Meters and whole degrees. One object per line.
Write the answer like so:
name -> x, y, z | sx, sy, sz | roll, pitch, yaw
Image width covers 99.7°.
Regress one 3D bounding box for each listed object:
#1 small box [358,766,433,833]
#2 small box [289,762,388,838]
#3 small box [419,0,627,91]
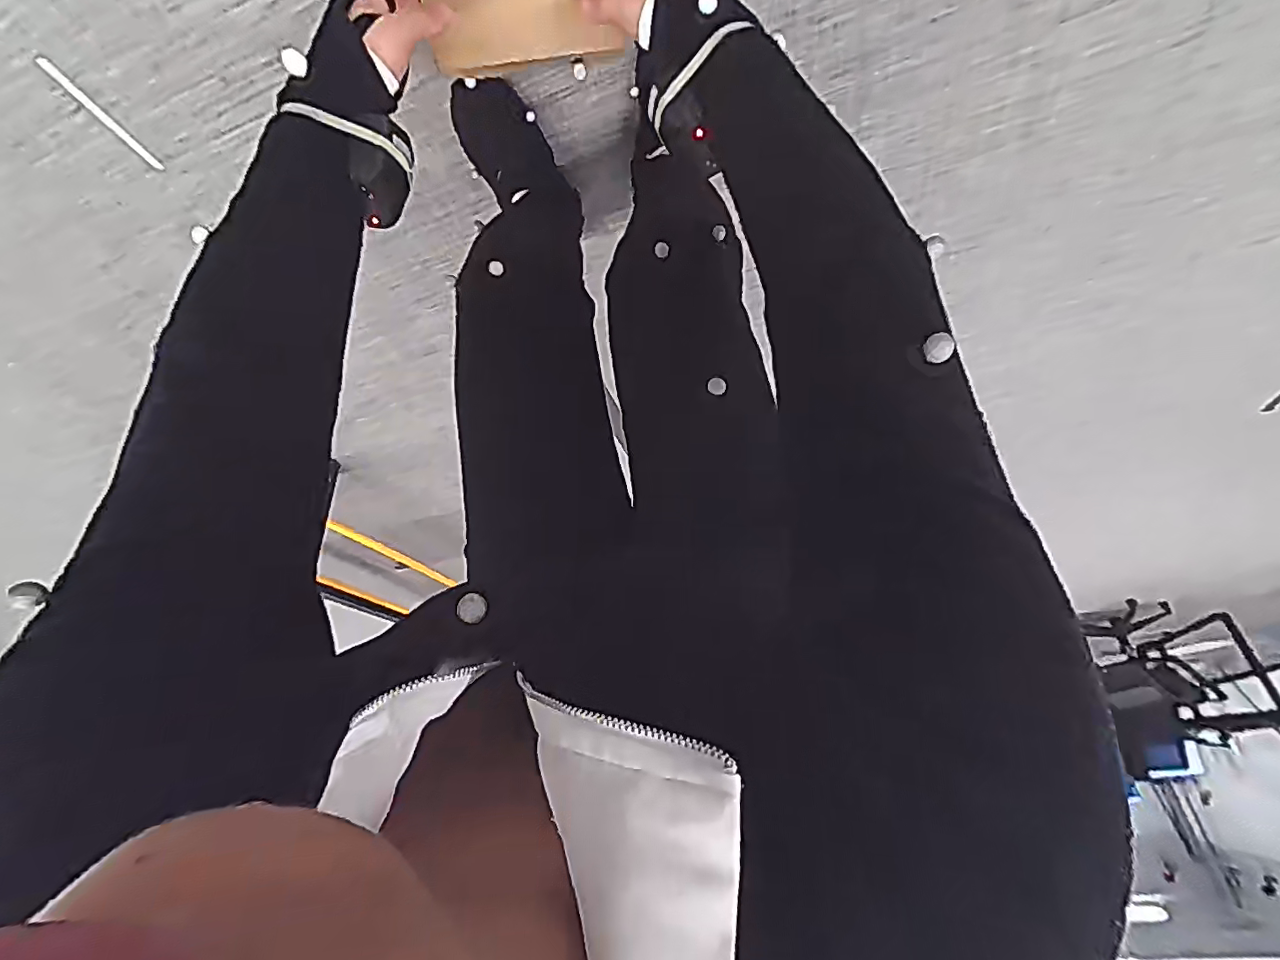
small box -> -0.782, 1.017, 1.730 | 0.179, 0.176, 0.168 | -13, 149, 13
small box -> -0.849, 0.911, 1.542 | 0.179, 0.176, 0.168 | -13, 150, 12
small box -> -0.111, -0.483, 0.515 | 0.179, 0.176, 0.168 | -6, 122, 0
